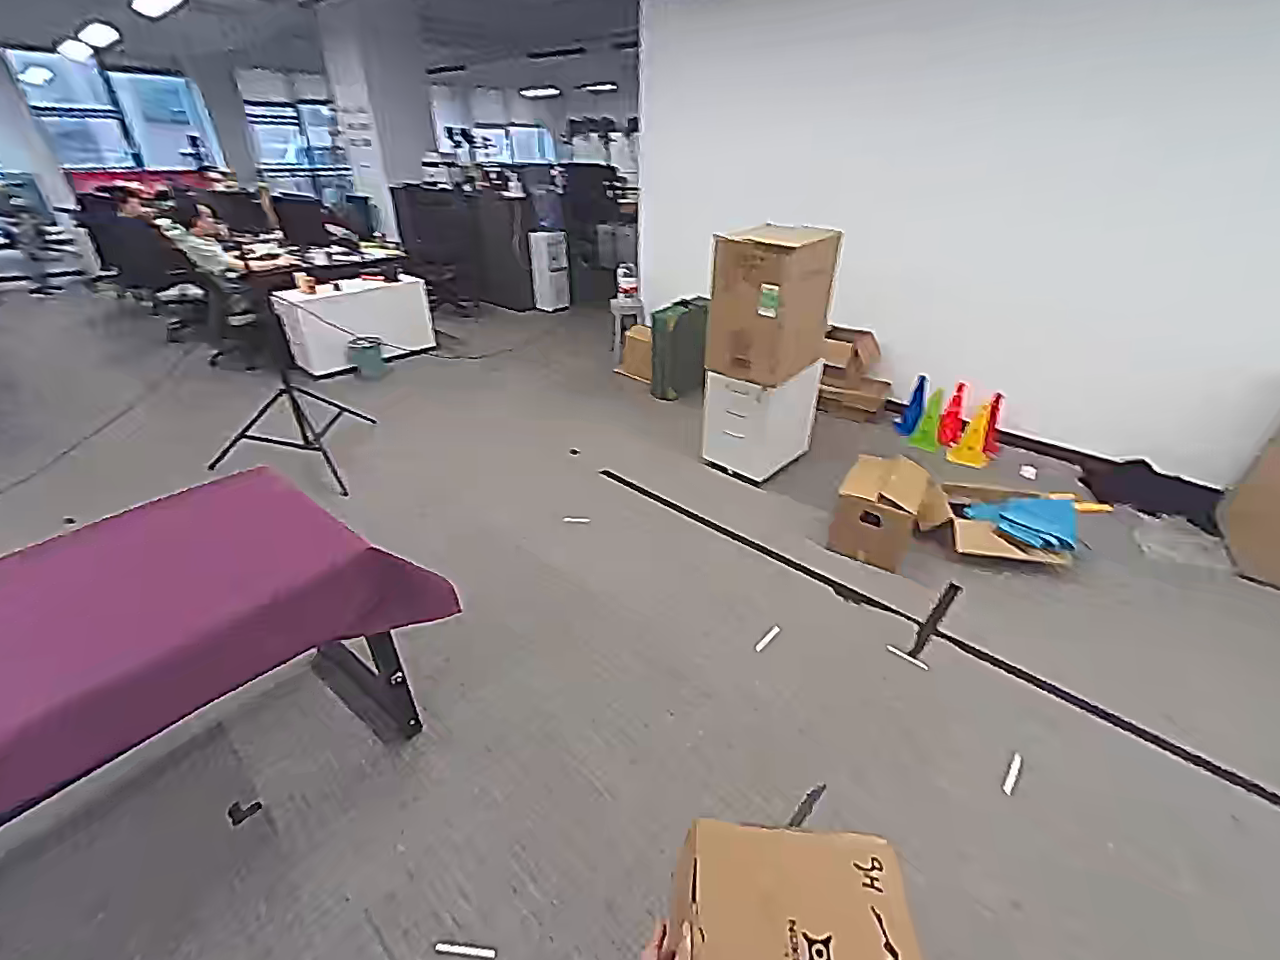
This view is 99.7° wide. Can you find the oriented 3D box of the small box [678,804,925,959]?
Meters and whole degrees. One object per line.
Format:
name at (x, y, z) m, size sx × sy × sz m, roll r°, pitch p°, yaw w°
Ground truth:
small box at (0.123, 0.405, 0.463) m, size 0.179 × 0.176 × 0.168 m, roll 4°, pitch 39°, yaw 0°
